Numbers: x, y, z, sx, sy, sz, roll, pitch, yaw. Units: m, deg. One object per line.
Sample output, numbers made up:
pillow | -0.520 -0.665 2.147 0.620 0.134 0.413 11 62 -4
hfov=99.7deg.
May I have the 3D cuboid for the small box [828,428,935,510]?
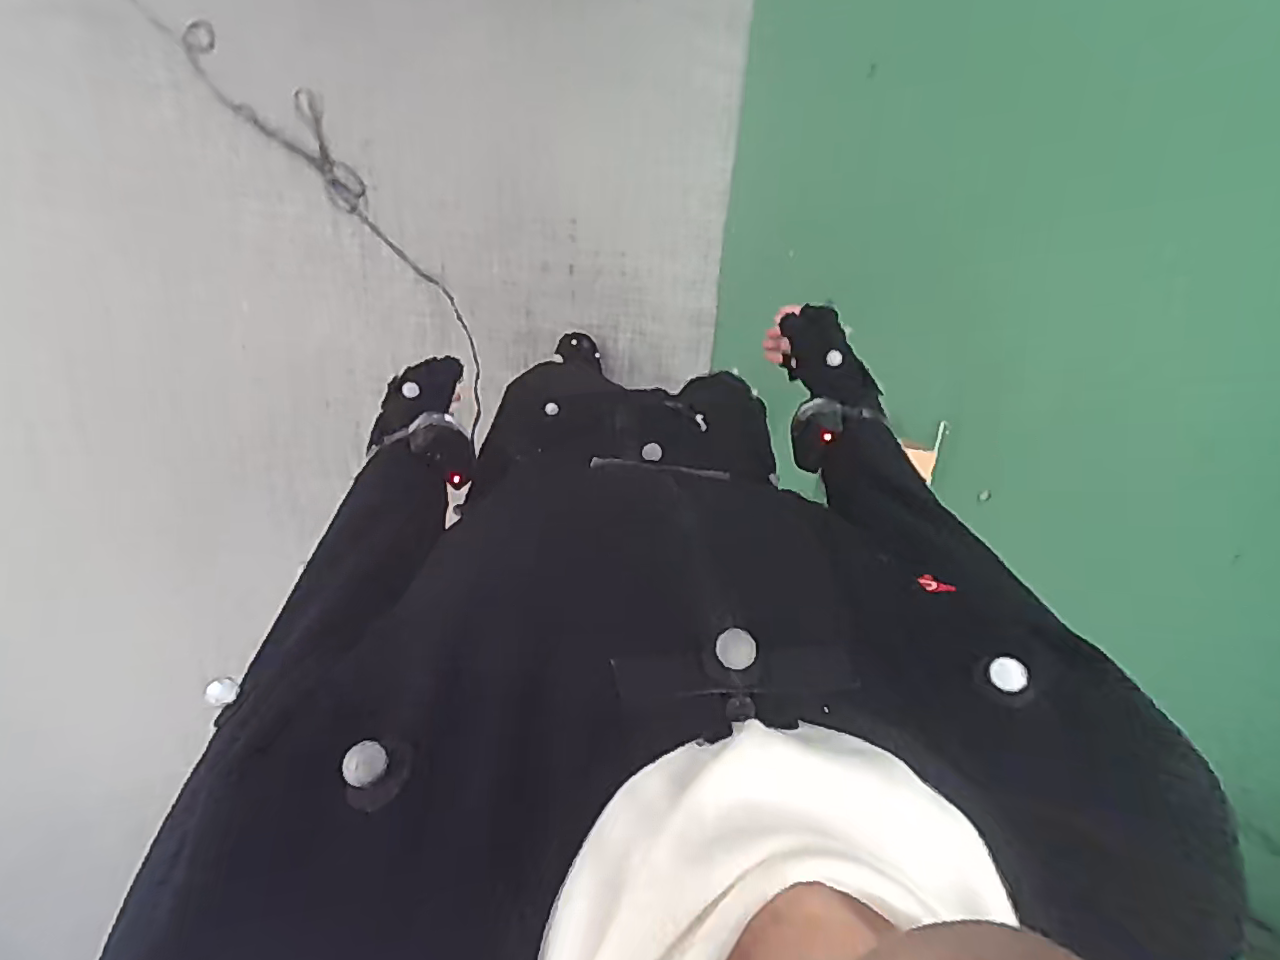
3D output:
small box | 0.621 -0.035 1.412 0.179 0.176 0.168 6 107 -5
